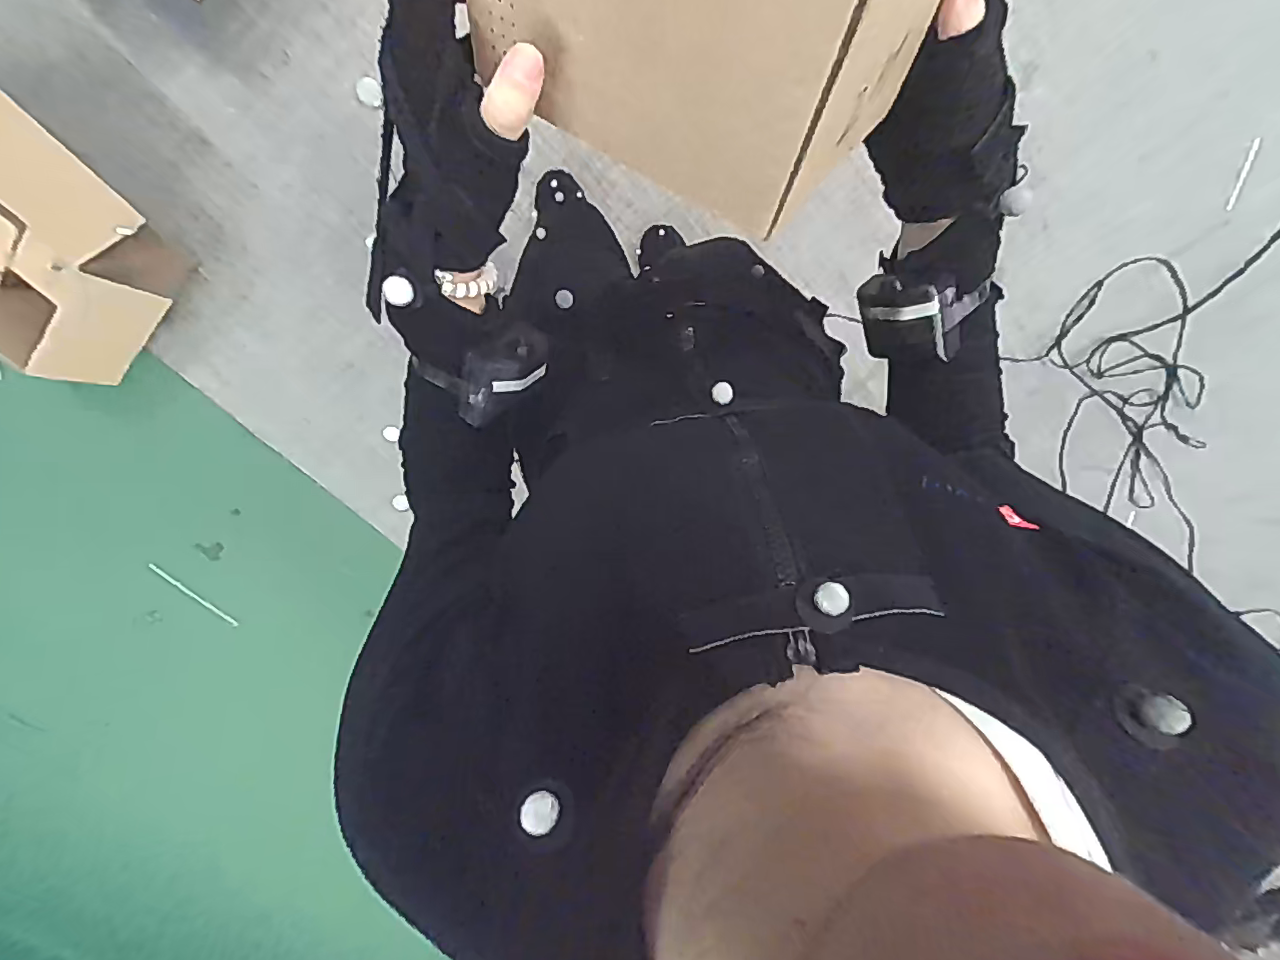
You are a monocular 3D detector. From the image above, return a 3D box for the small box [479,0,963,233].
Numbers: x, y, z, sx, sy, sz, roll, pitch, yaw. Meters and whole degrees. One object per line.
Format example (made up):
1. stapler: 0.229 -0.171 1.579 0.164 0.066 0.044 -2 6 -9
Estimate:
1. small box: 0.047 -0.241 0.204 0.176 0.168 0.179 34 153 11
